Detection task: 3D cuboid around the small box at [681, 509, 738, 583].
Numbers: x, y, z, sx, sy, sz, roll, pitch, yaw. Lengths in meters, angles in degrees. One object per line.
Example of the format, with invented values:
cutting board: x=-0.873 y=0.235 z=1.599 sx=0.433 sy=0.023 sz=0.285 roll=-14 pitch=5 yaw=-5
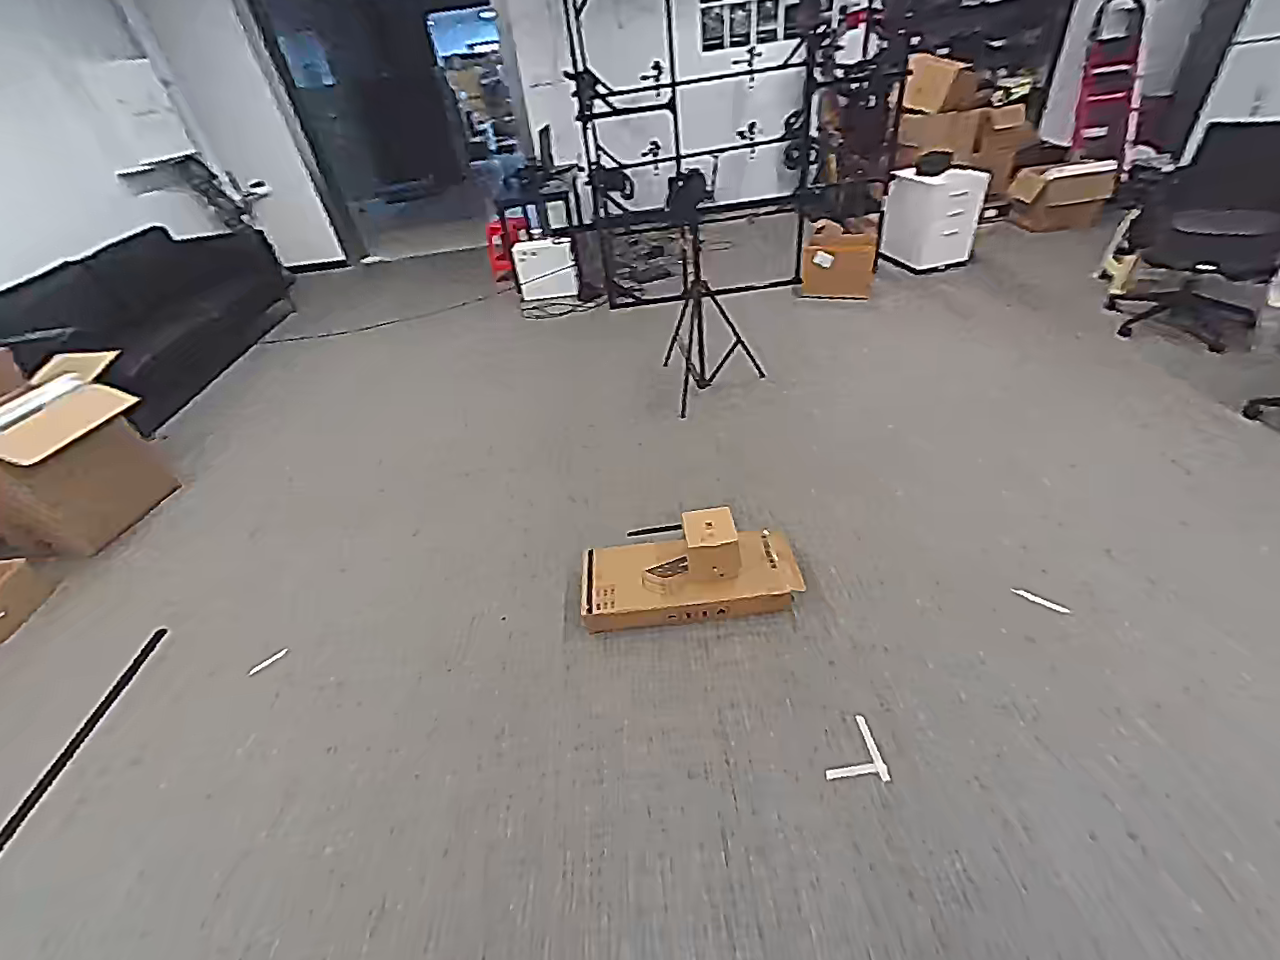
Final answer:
small box: x=0.235 y=0.225 z=1.835 sx=0.168 sy=0.176 sz=0.179 roll=-8 pitch=38 yaw=1
